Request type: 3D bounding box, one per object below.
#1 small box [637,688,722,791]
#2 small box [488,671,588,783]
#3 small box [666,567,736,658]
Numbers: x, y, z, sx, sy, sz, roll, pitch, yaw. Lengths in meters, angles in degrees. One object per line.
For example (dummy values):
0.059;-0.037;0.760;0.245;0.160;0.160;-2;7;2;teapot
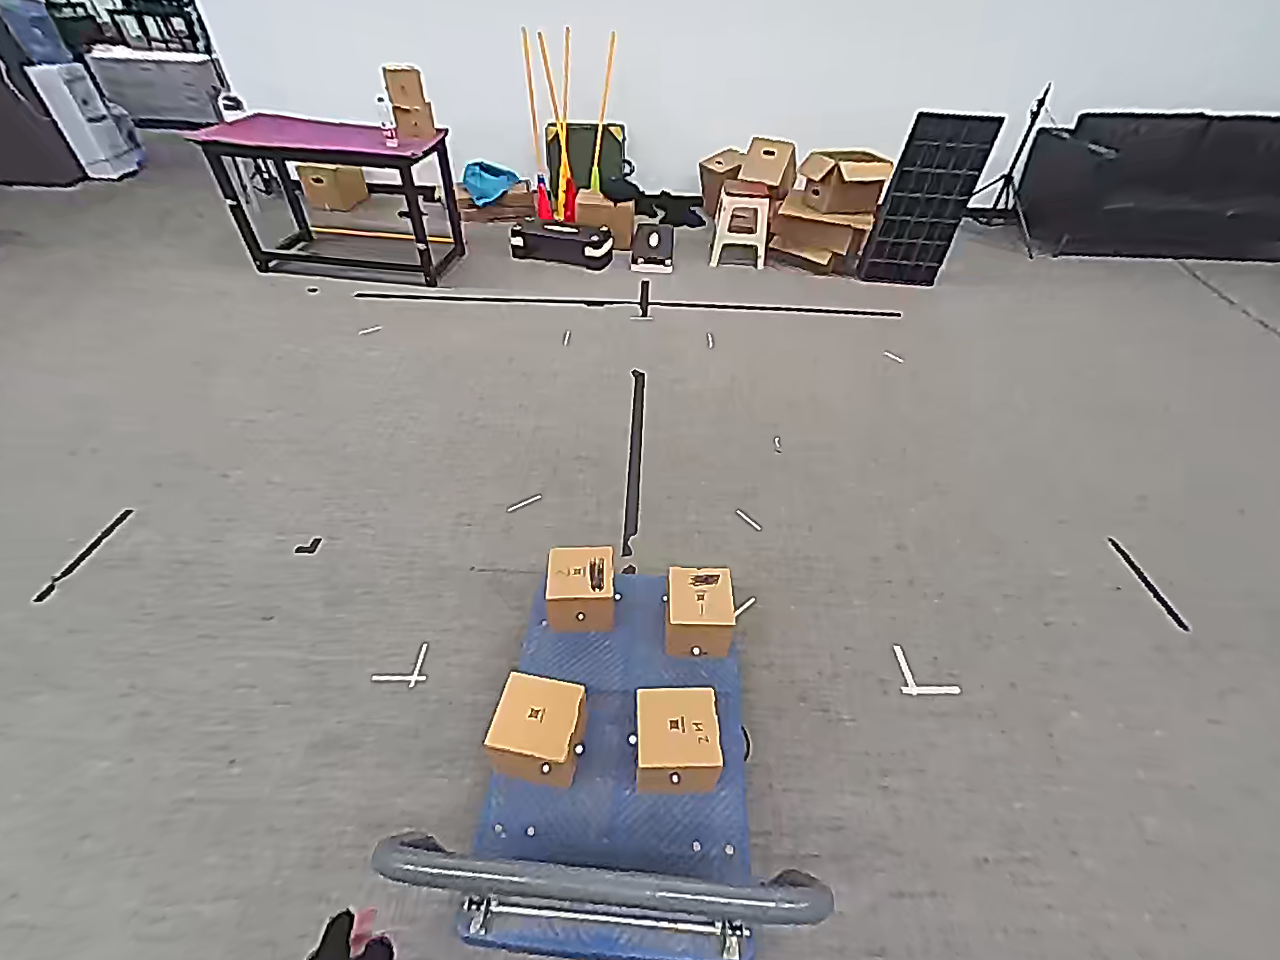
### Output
0.081;0.585;1.217;0.179;0.176;0.168;1;44;-2;small box
-0.223;0.563;1.227;0.179;0.176;0.168;10;44;5;small box
0.159;0.357;1.457;0.168;0.176;0.179;2;45;0;small box
